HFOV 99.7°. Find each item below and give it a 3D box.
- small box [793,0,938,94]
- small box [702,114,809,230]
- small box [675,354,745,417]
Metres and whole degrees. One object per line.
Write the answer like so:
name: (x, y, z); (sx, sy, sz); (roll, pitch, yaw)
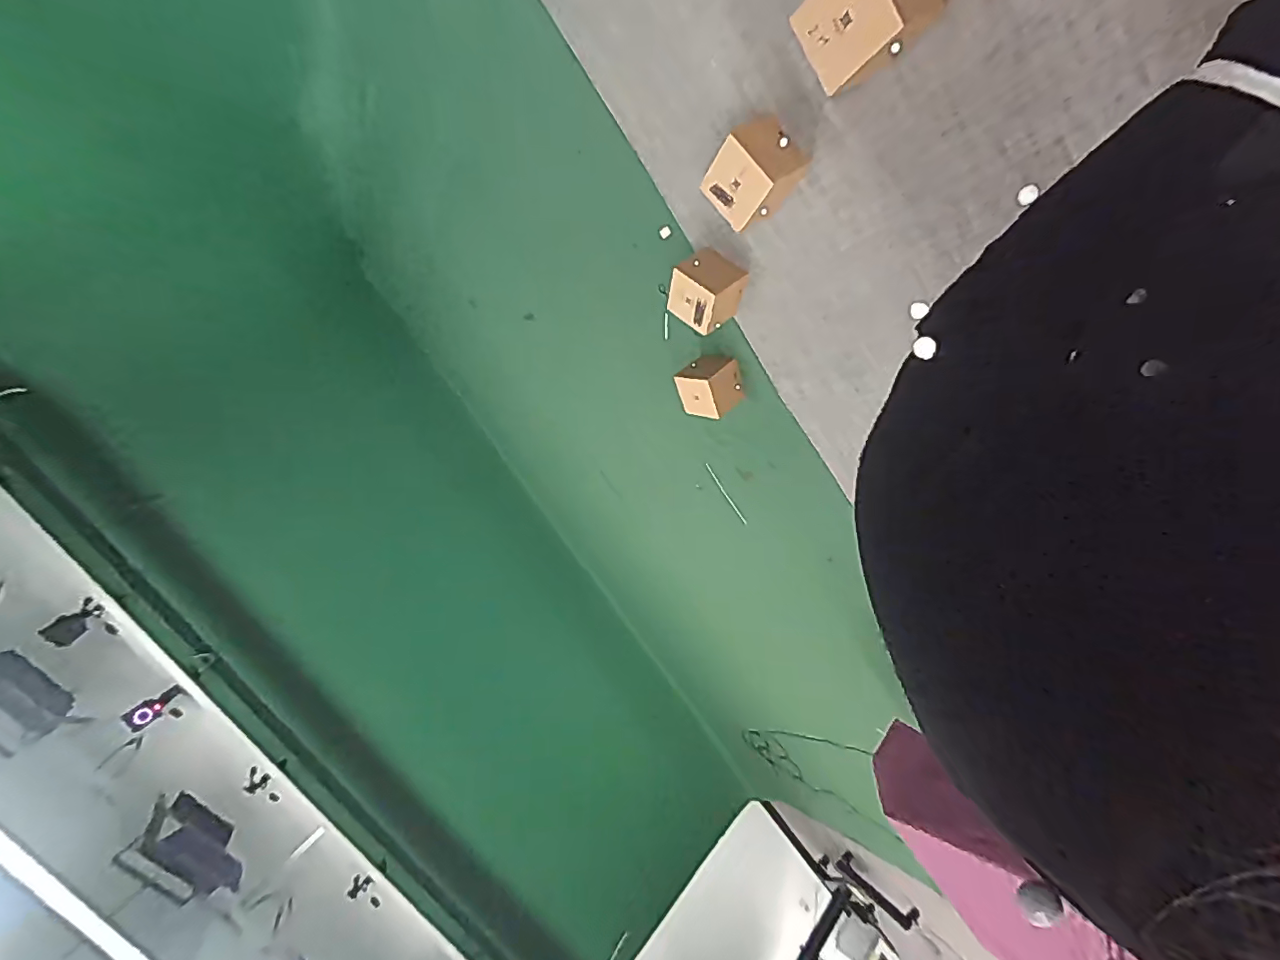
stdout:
small box: (0.438, -0.900, 1.038); (0.168, 0.176, 0.179); (56, 153, -11)
small box: (0.299, -0.794, 1.395); (0.168, 0.176, 0.179); (50, 153, 0)
small box: (0.265, -0.360, 2.027); (0.179, 0.176, 0.168); (19, 141, 46)
